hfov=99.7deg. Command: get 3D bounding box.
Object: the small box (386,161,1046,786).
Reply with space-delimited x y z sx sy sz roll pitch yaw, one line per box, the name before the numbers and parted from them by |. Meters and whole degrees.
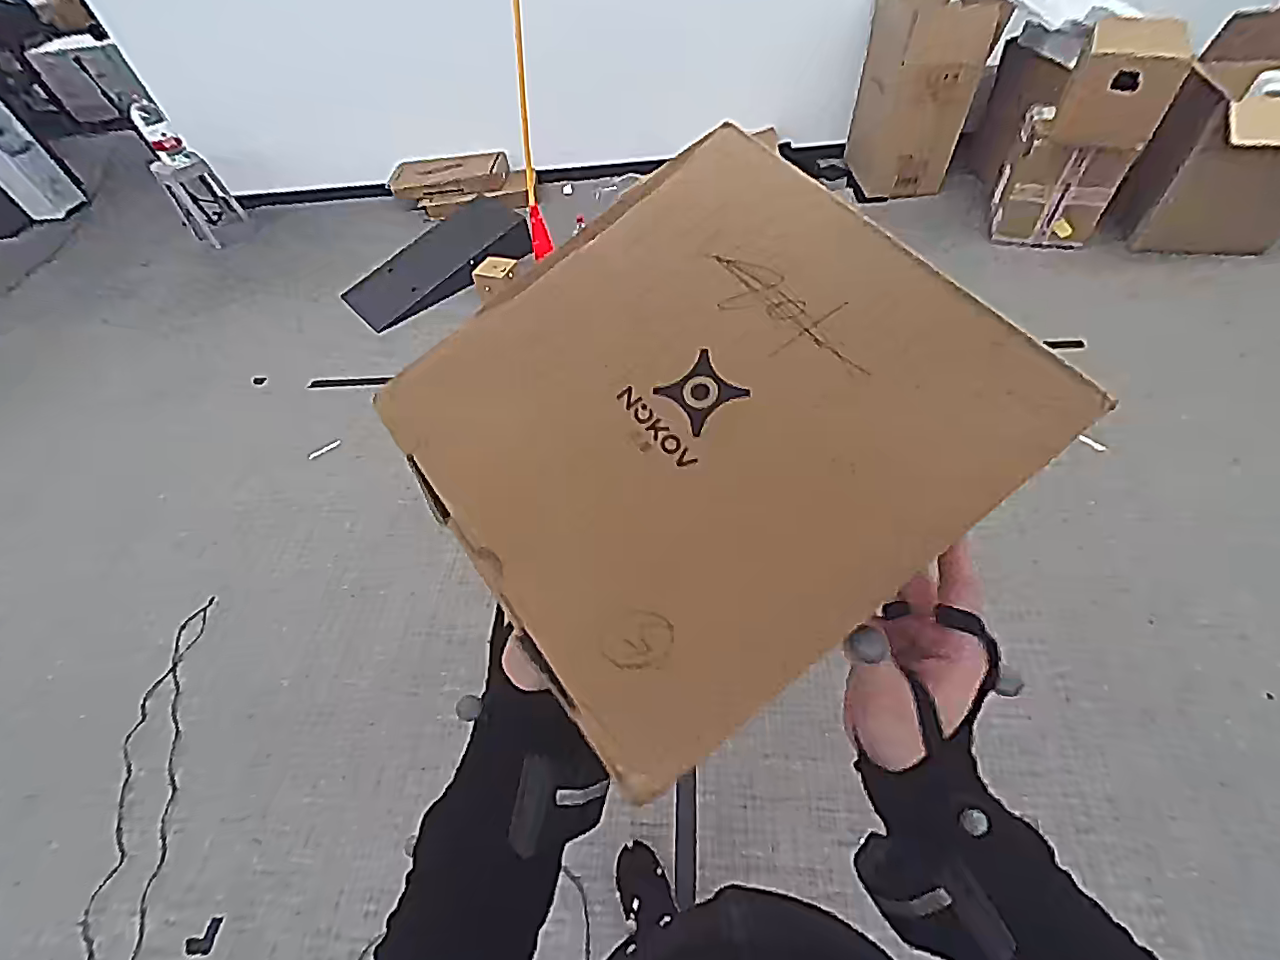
small box | 0.028 0.005 0.264 0.179 0.176 0.168 -40 70 -4
